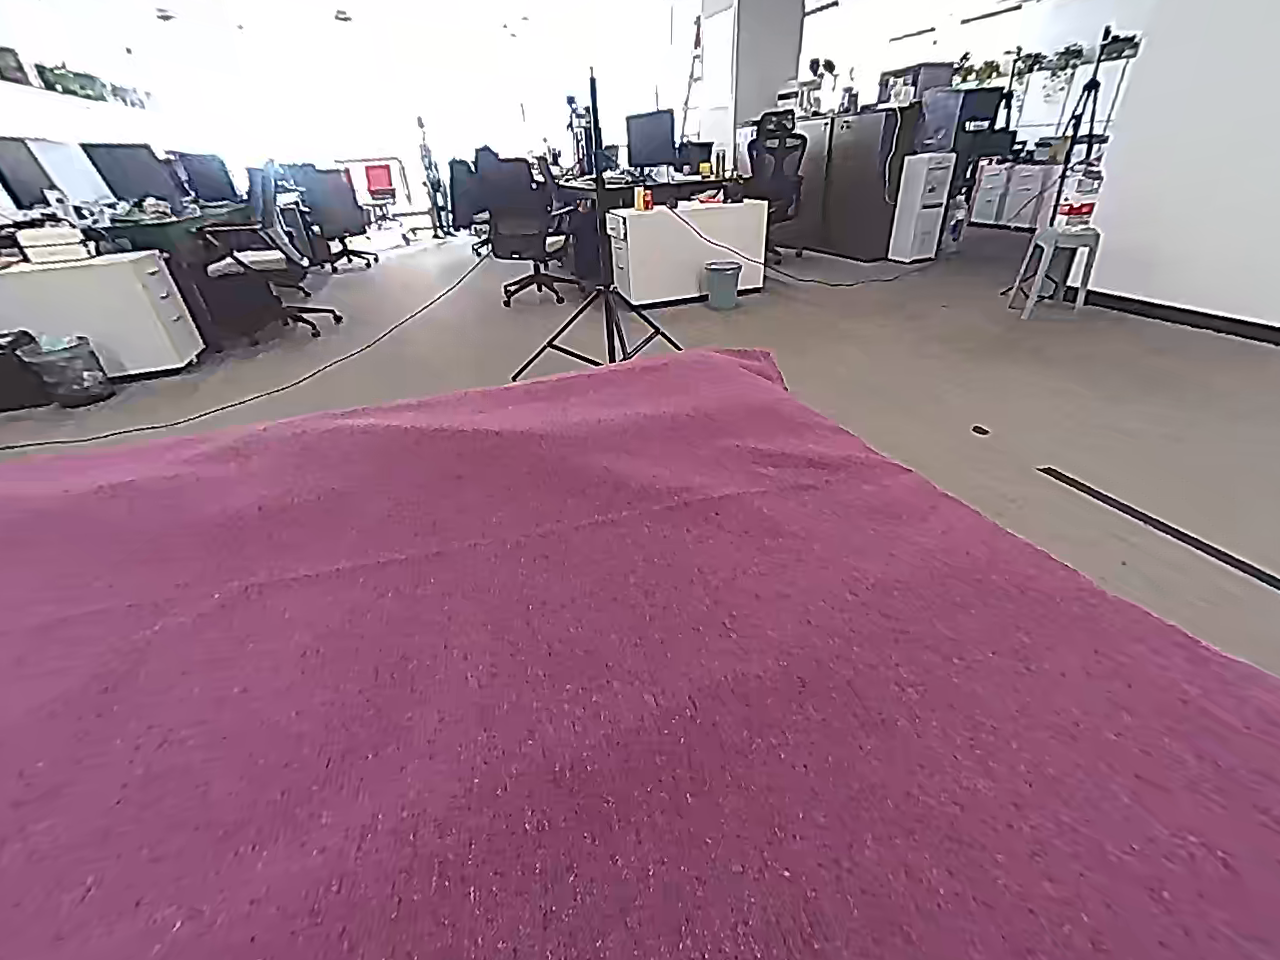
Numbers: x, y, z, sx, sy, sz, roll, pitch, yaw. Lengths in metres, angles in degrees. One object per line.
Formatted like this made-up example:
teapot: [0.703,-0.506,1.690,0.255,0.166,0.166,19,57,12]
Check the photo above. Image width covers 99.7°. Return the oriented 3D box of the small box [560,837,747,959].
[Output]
small box: [0.020,0.523,0.558,0.168,0.176,0.179,-13,34,-12]
